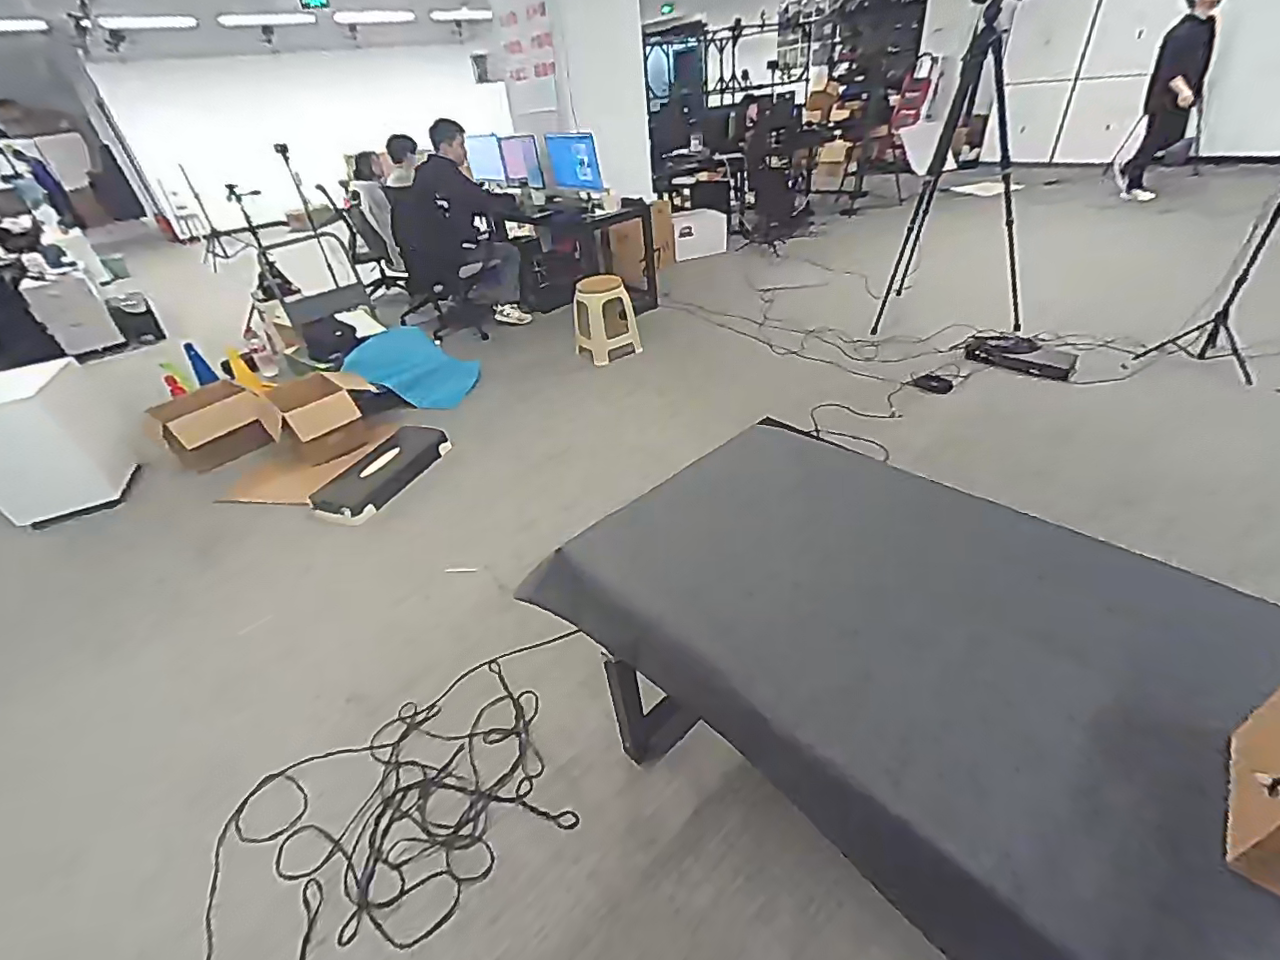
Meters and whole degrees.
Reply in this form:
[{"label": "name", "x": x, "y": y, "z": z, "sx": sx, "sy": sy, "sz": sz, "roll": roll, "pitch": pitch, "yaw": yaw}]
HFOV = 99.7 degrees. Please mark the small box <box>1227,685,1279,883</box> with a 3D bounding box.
[{"label": "small box", "x": 0.674, "y": 0.290, "z": 0.476, "sx": 0.168, "sy": 0.176, "sz": 0.179, "roll": 24, "pitch": 45, "yaw": 34}]
